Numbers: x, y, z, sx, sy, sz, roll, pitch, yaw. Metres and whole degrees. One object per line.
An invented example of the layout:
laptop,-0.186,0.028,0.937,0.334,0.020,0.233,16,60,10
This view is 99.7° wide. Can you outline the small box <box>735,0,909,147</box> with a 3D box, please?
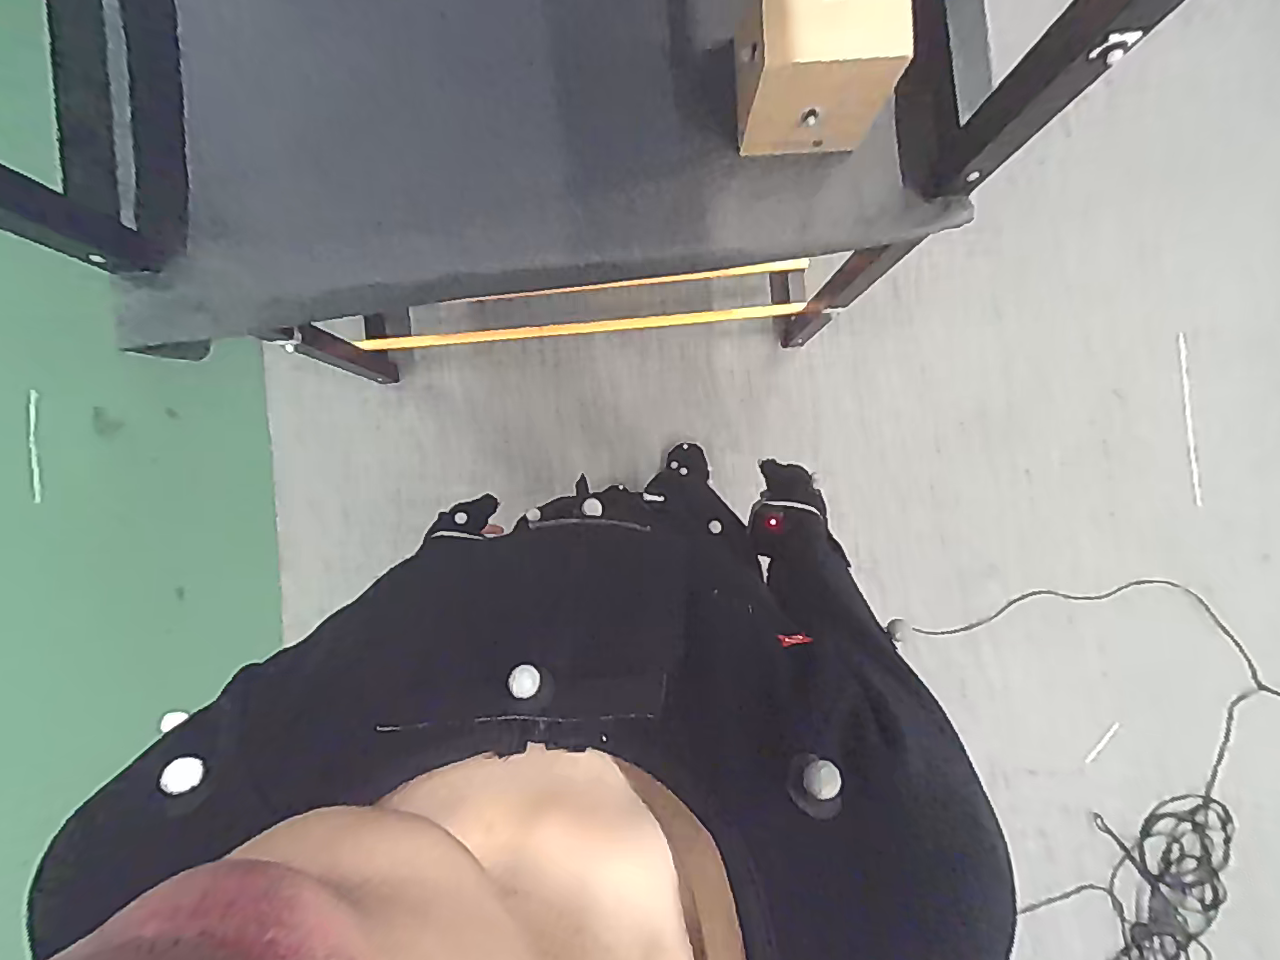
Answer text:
small box,0.215,-0.546,0.677,0.168,0.176,0.179,-2,89,0
